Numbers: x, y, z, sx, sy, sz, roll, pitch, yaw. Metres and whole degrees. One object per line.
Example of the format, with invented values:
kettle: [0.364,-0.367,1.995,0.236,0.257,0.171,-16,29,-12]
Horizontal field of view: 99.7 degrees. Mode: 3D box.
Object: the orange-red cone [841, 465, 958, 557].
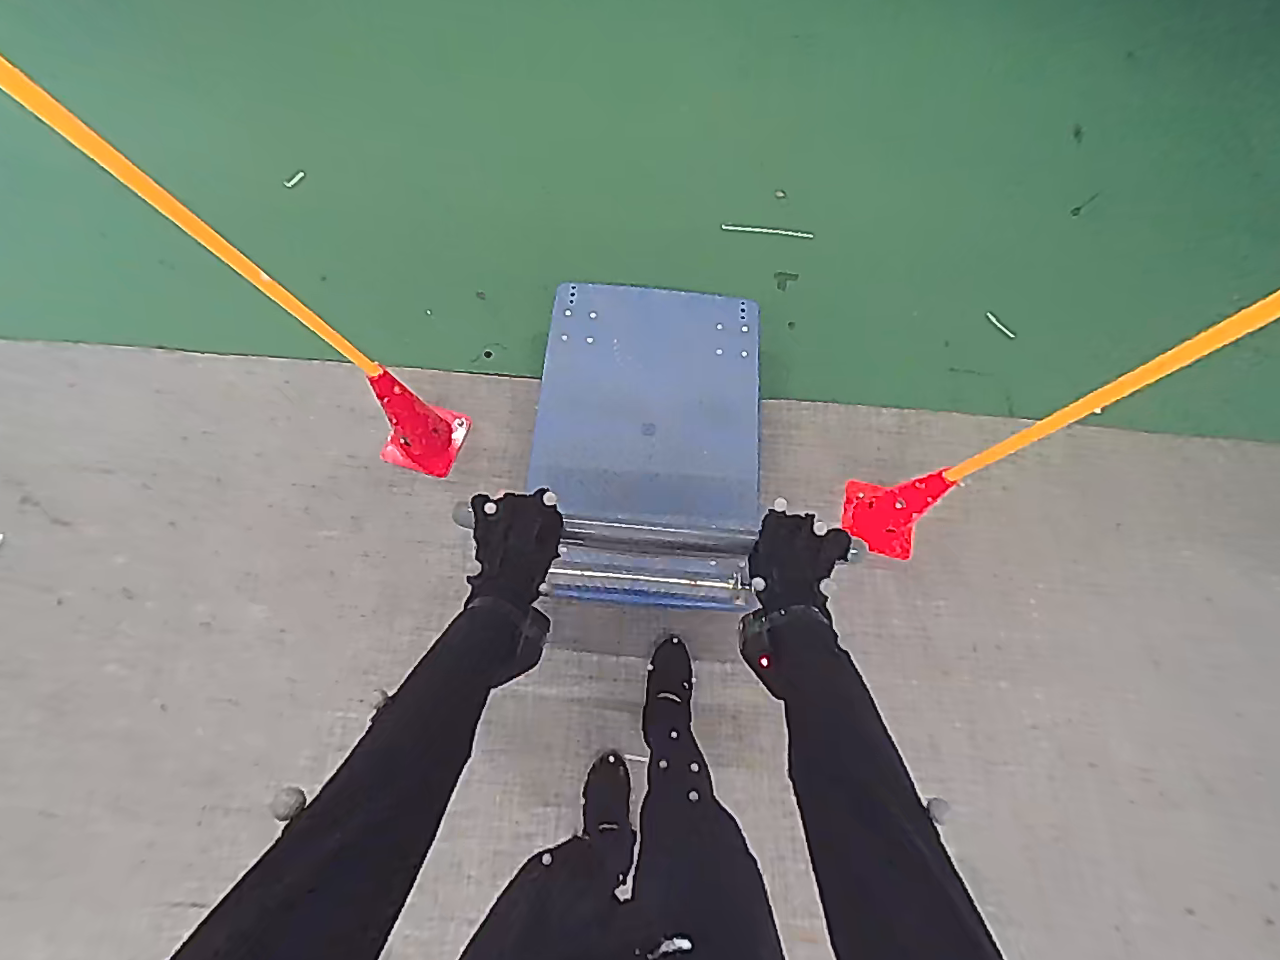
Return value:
orange-red cone: [0.671,0.045,1.342,0.198,0.360,0.199,15,71,3]
